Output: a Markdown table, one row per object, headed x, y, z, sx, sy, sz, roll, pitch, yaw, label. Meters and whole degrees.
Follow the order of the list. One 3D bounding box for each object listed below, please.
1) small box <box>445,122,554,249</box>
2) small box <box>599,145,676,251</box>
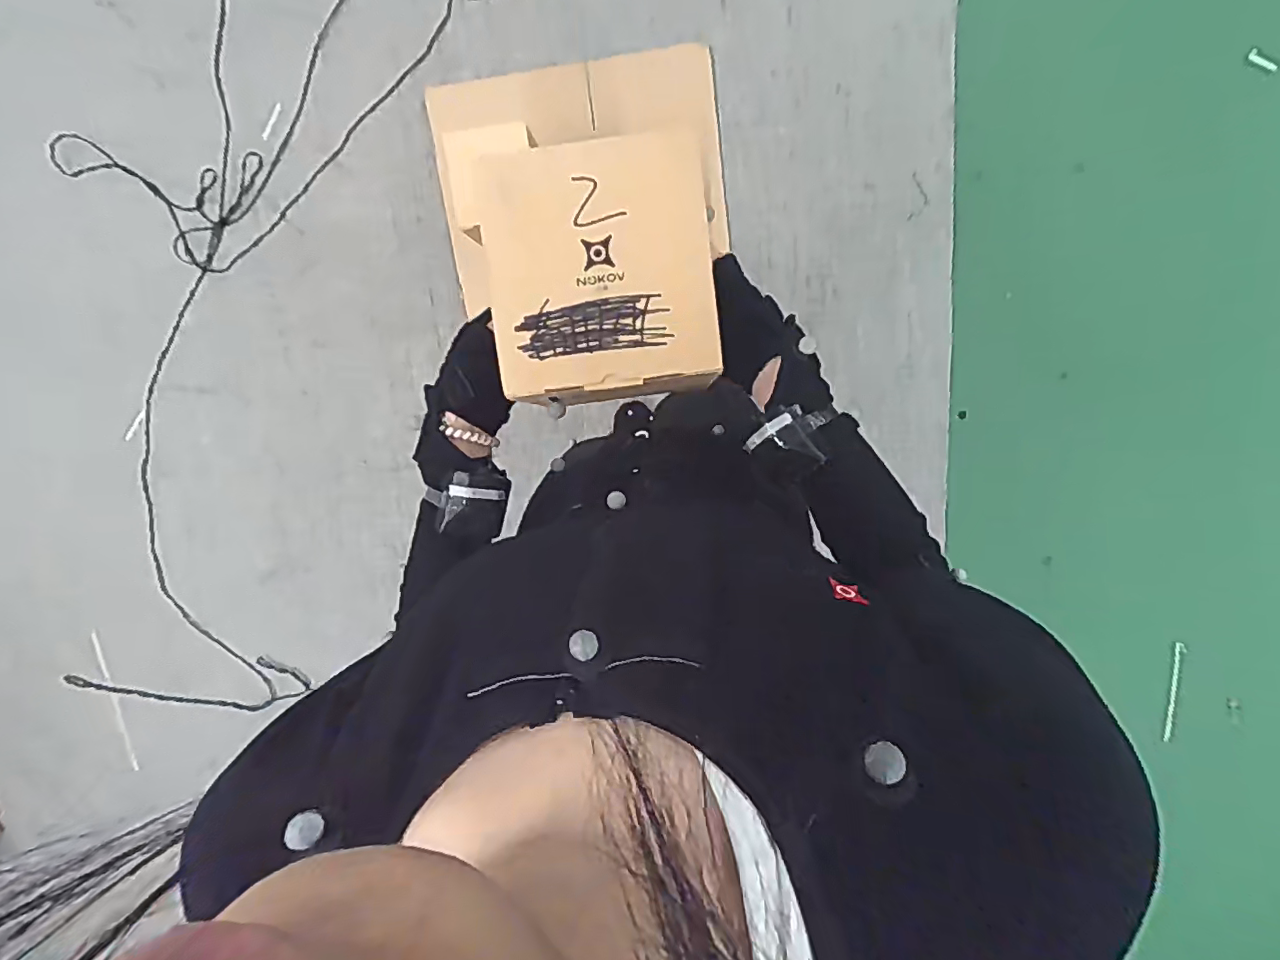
| x | y | z | sx | sy | sz | roll | pitch | yaw | label |
| --- | --- | --- | --- | --- | --- | --- | --- | --- | --- |
| -0.281 | -0.598 | 1.118 | 0.168 | 0.176 | 0.179 | -7 | 101 | 3 | small box |
| -0.002 | -0.652 | 1.265 | 0.168 | 0.176 | 0.179 | -3 | 102 | 4 | small box |
